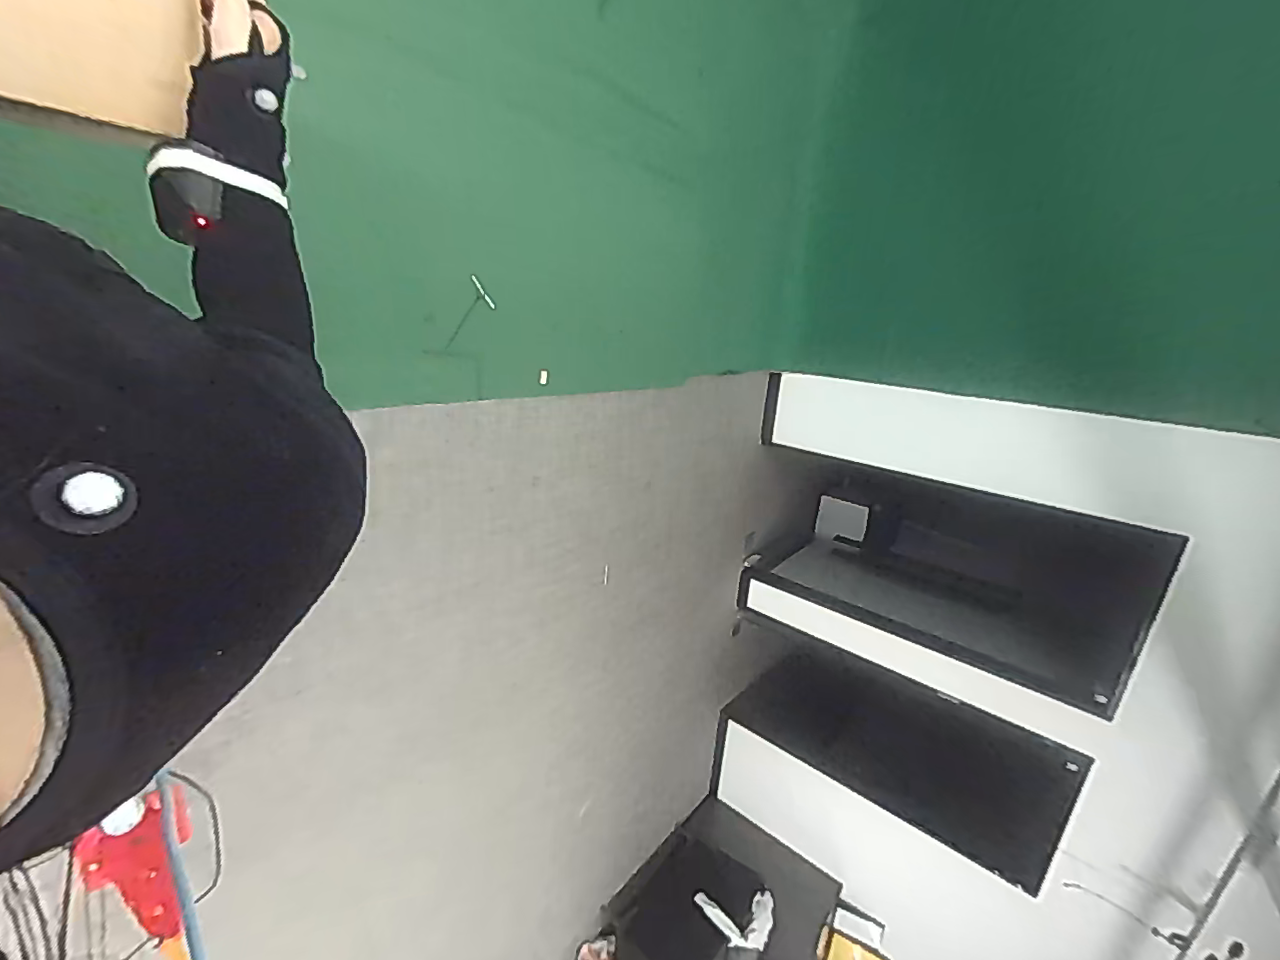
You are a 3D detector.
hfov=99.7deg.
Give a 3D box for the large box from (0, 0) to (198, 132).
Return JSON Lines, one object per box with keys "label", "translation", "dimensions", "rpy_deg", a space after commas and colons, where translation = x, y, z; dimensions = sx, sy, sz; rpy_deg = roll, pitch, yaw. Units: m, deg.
{"label": "large box", "translation": [-0.595, -0.454, 0.342], "dimensions": [0.408, 0.320, 0.320], "rpy_deg": [-18, 124, -51]}
